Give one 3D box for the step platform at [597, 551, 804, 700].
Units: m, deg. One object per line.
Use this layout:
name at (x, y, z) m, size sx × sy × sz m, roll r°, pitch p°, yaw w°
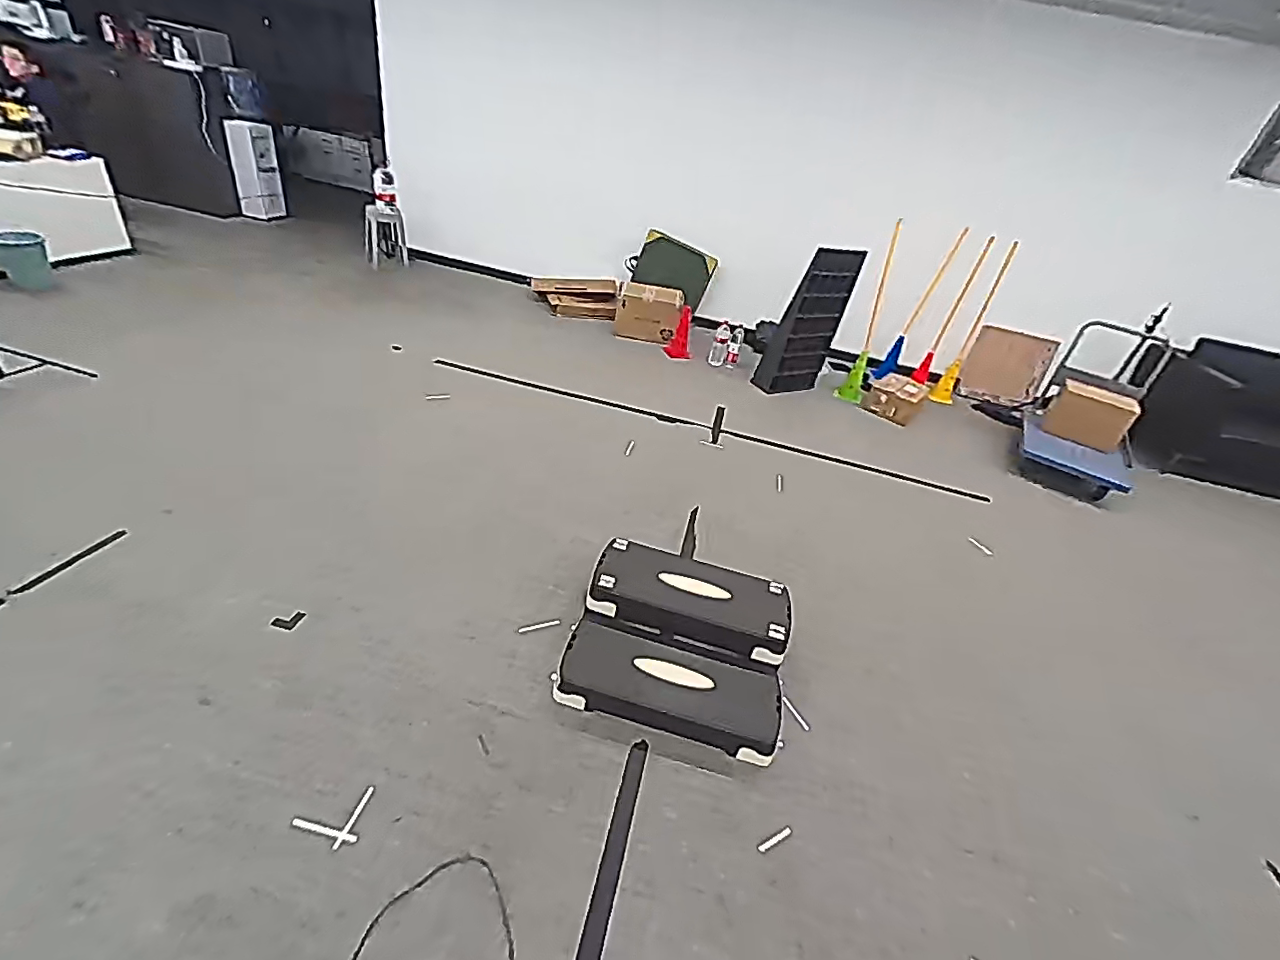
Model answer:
step platform at (0.206, 0.479, 1.849) m, size 0.684 × 0.204 × 0.286 m, roll 18°, pitch 33°, yaw 9°
